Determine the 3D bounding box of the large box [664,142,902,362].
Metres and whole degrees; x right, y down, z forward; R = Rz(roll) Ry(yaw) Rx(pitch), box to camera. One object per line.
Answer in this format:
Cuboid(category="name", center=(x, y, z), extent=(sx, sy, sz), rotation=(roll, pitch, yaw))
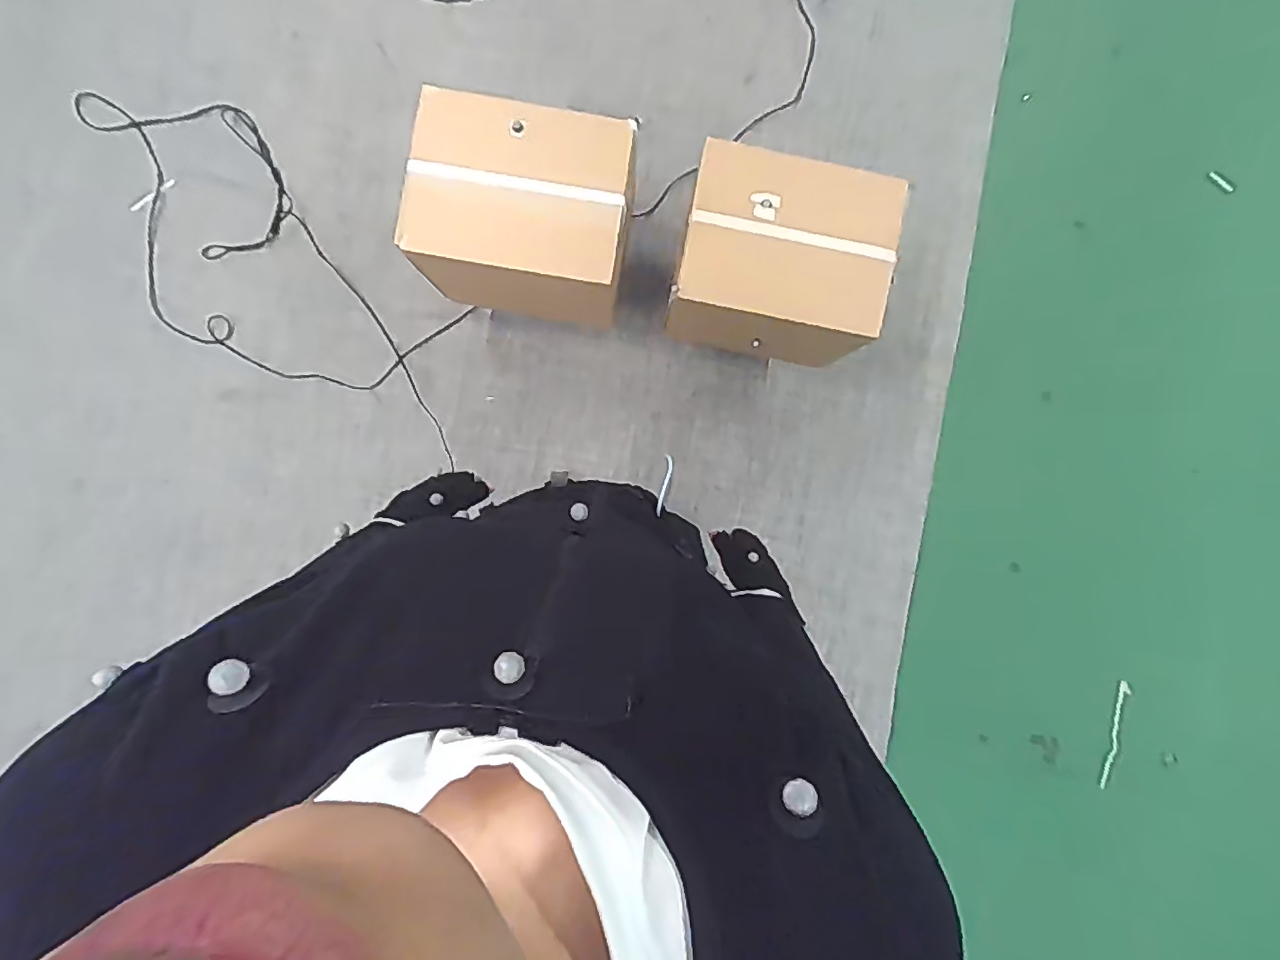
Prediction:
Cuboid(category="large box", center=(0.287, -0.471, 1.198), extent=(0.408, 0.320, 0.320), rotation=(11, 90, -2))
